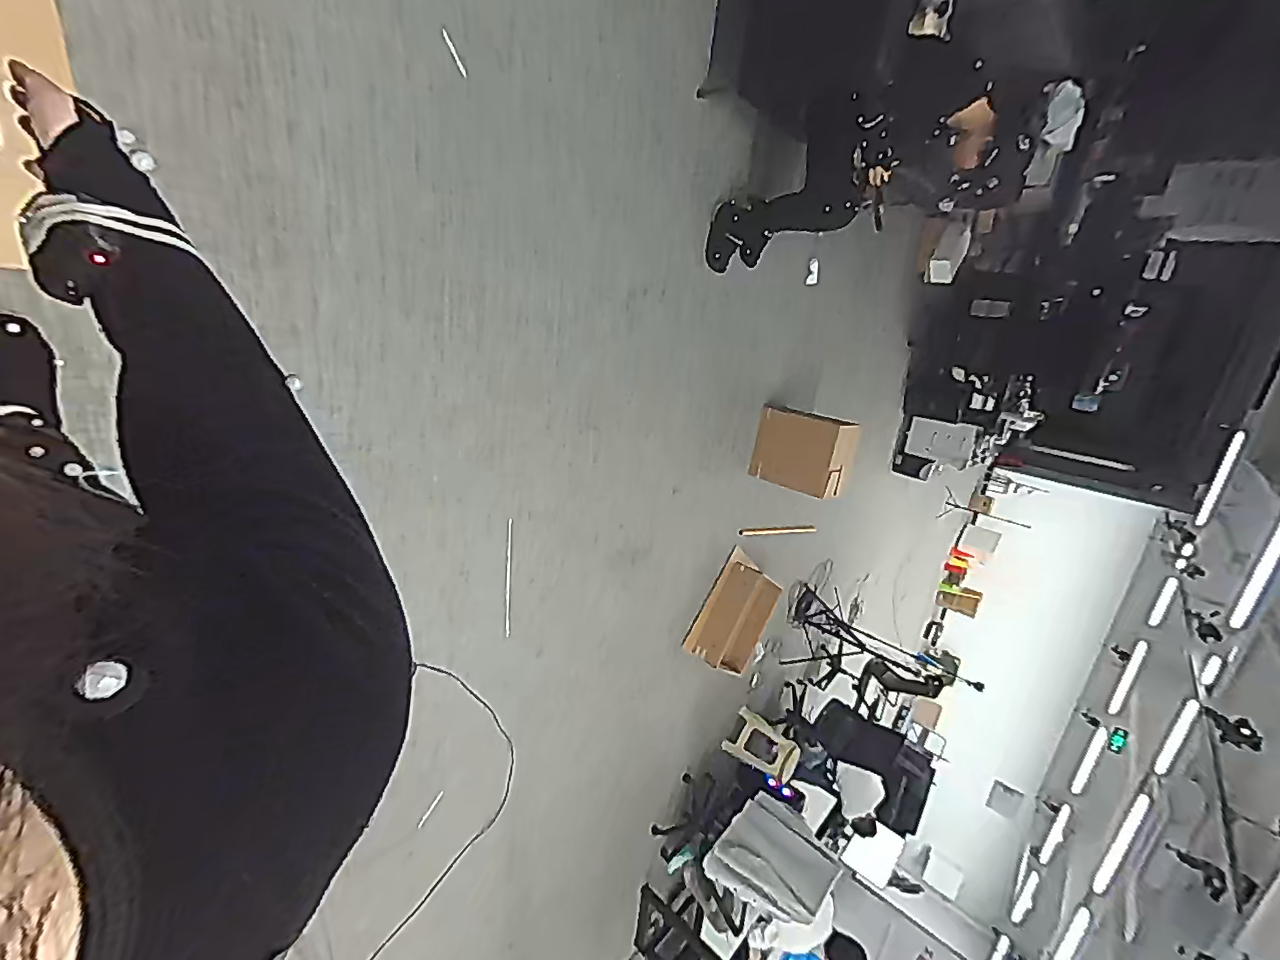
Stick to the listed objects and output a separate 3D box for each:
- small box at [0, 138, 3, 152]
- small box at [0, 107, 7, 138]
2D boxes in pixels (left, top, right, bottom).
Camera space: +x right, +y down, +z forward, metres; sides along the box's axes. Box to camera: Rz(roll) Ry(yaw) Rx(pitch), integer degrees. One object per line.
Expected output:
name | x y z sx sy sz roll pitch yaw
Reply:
small box | -0.698 -0.383 0.459 0.168 0.176 0.179 -25 126 -40
small box | -0.578 -0.335 0.355 0.168 0.176 0.179 -25 126 -40
